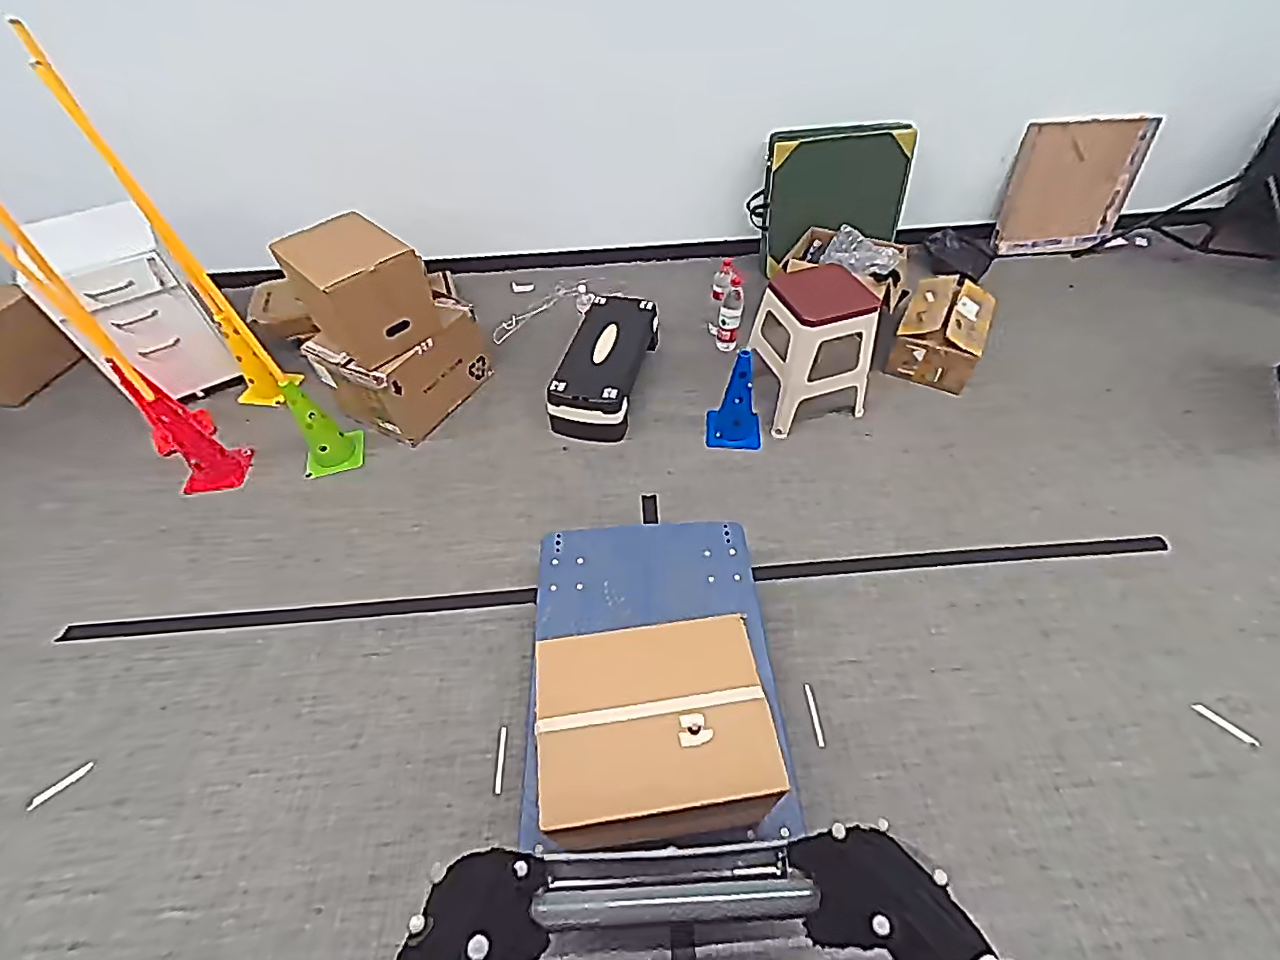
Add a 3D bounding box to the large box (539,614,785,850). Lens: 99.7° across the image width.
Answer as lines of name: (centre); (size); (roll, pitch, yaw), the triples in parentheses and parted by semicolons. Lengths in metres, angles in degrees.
large box: (0.023, 0.505, 1.083); (0.408, 0.320, 0.320); (-7, 51, -5)
